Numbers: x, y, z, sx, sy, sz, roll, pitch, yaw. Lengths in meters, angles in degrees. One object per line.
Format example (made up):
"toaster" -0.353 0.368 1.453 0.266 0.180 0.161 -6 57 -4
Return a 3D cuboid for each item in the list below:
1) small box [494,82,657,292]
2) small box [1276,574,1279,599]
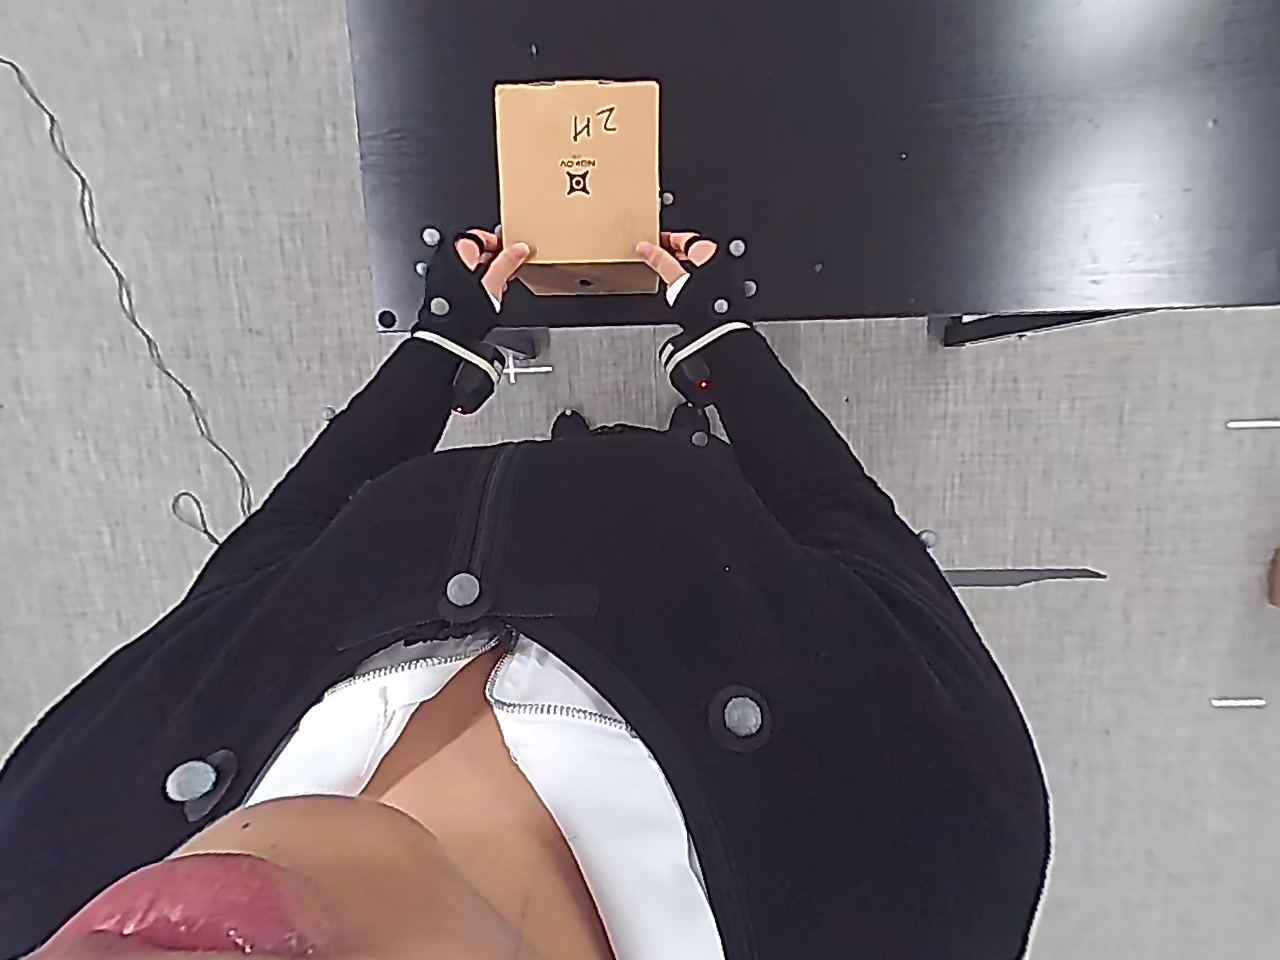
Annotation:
"small box" -0.063 -0.323 0.634 0.168 0.176 0.179 -1 97 1
"small box" 1.830 0.269 1.401 0.168 0.176 0.179 -2 97 1
